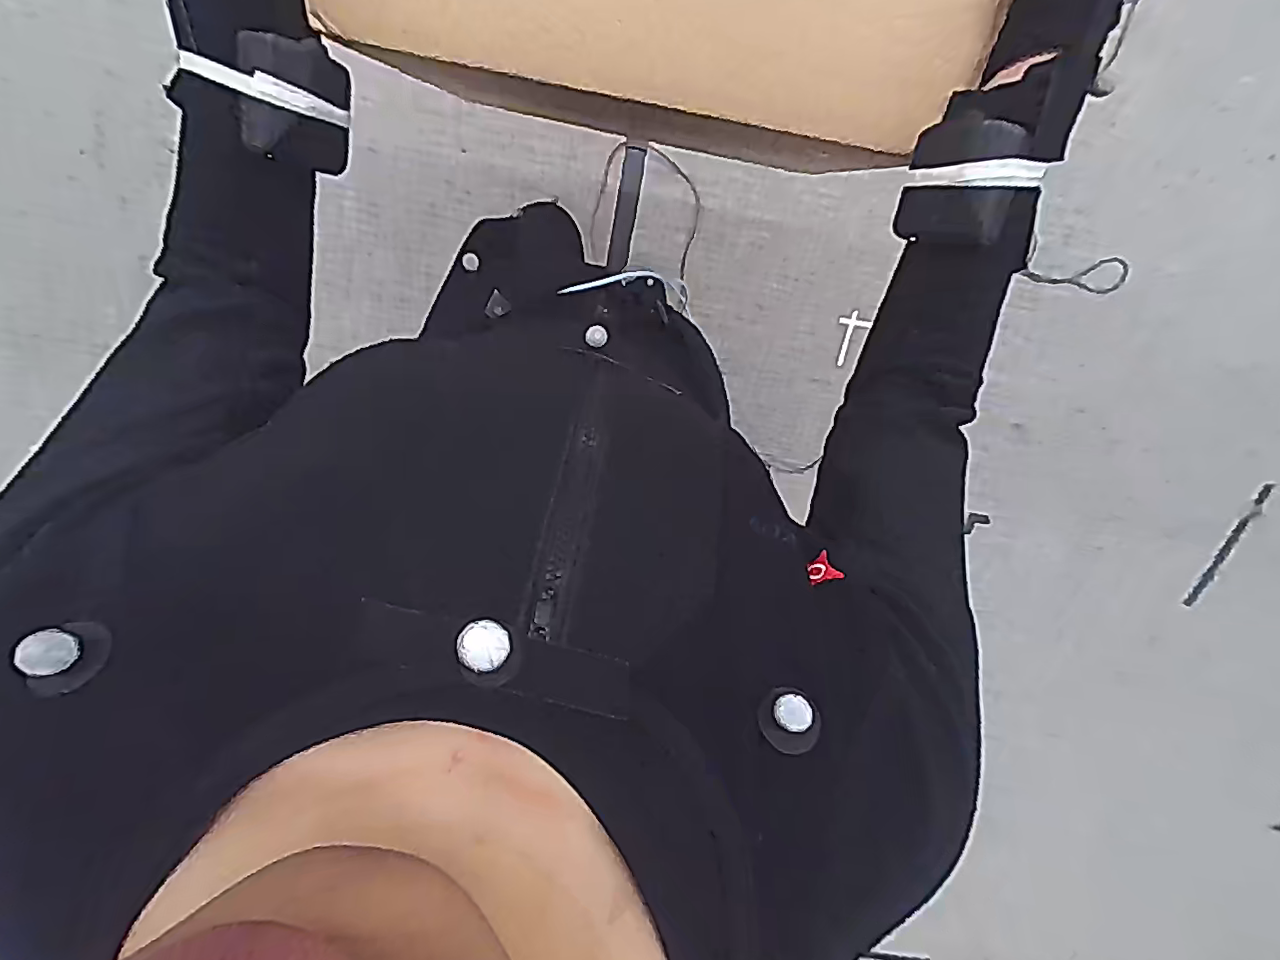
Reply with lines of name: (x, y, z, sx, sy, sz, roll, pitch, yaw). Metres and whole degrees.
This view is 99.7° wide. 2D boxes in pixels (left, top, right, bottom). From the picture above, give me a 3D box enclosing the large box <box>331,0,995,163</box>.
large box: (0.028, -0.449, 0.404, 0.408, 0.320, 0.320, 8, 120, -5)
